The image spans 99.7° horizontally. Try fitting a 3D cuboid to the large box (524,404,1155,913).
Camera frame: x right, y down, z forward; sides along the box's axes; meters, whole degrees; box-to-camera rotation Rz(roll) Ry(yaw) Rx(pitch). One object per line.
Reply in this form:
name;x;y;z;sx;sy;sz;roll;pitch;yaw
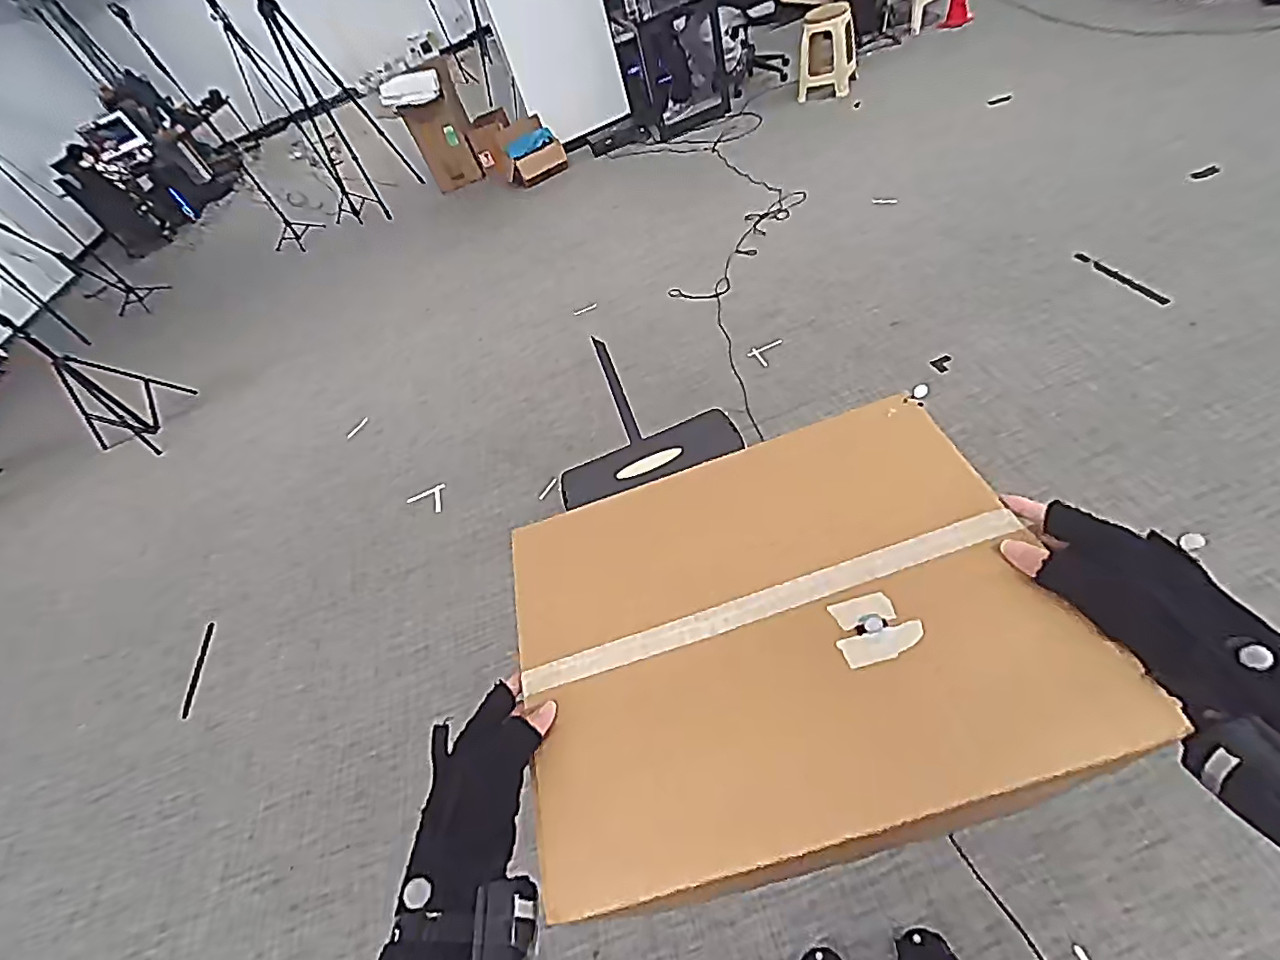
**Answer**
large box;0.139;0.192;0.551;0.408;0.320;0.320;-20;50;3
